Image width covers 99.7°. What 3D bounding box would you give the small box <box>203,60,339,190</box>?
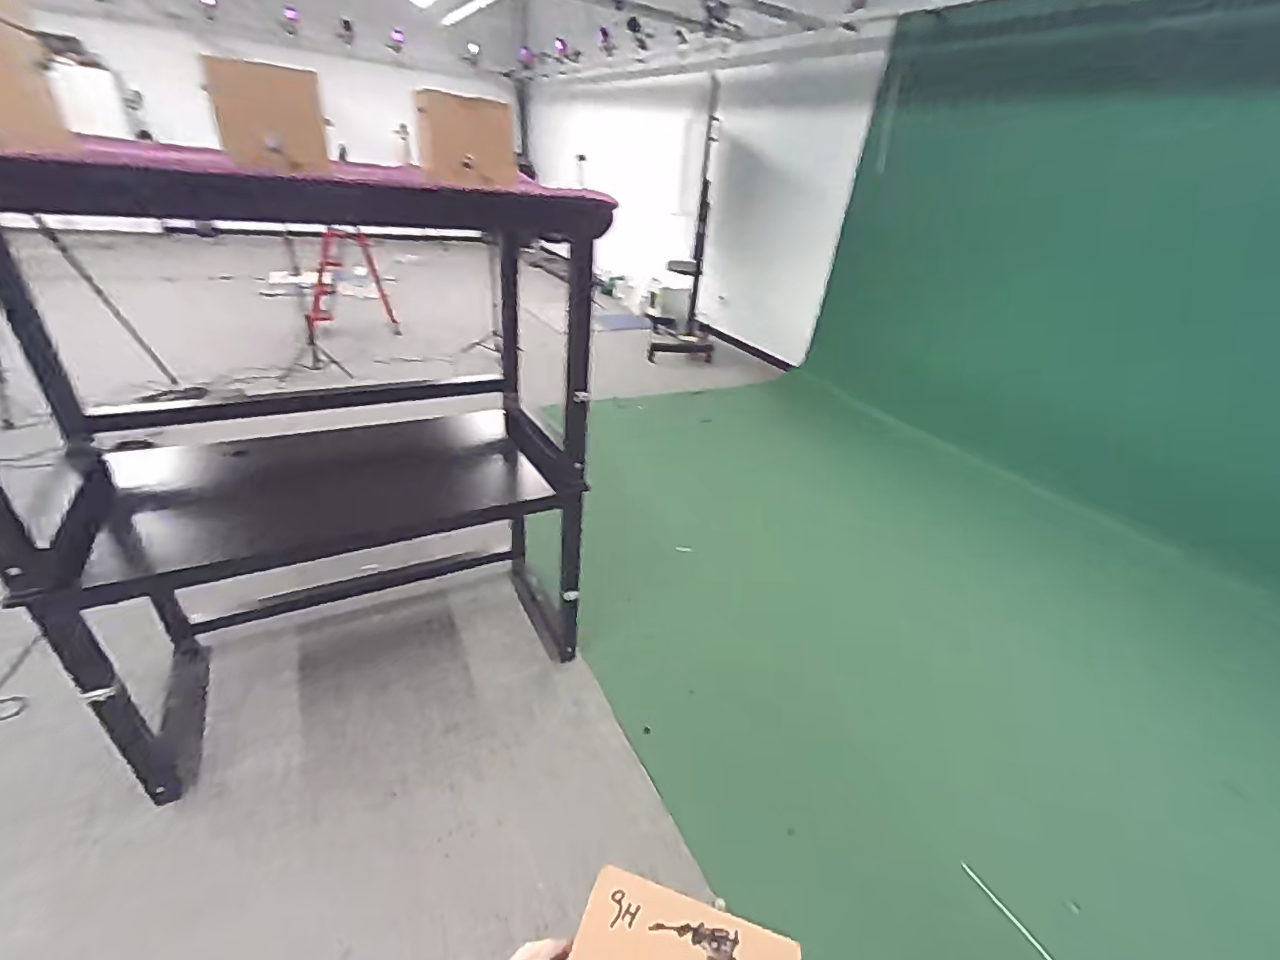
[{"bbox_3d":[-0.654,-0.633,0.975,0.168,0.176,0.179,-12,36,-27],"label":"small box"}]

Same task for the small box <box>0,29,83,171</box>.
[{"bbox_3d":[-0.969,-0.558,0.789,0.168,0.176,0.179,-12,34,-28],"label":"small box"}]

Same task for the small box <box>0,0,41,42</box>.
[{"bbox_3d":[-0.952,-0.698,0.708,0.168,0.176,0.179,-11,35,-26],"label":"small box"}]

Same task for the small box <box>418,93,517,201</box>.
[{"bbox_3d":[-0.362,-0.696,1.136,0.168,0.176,0.179,-11,36,-26],"label":"small box"}]
